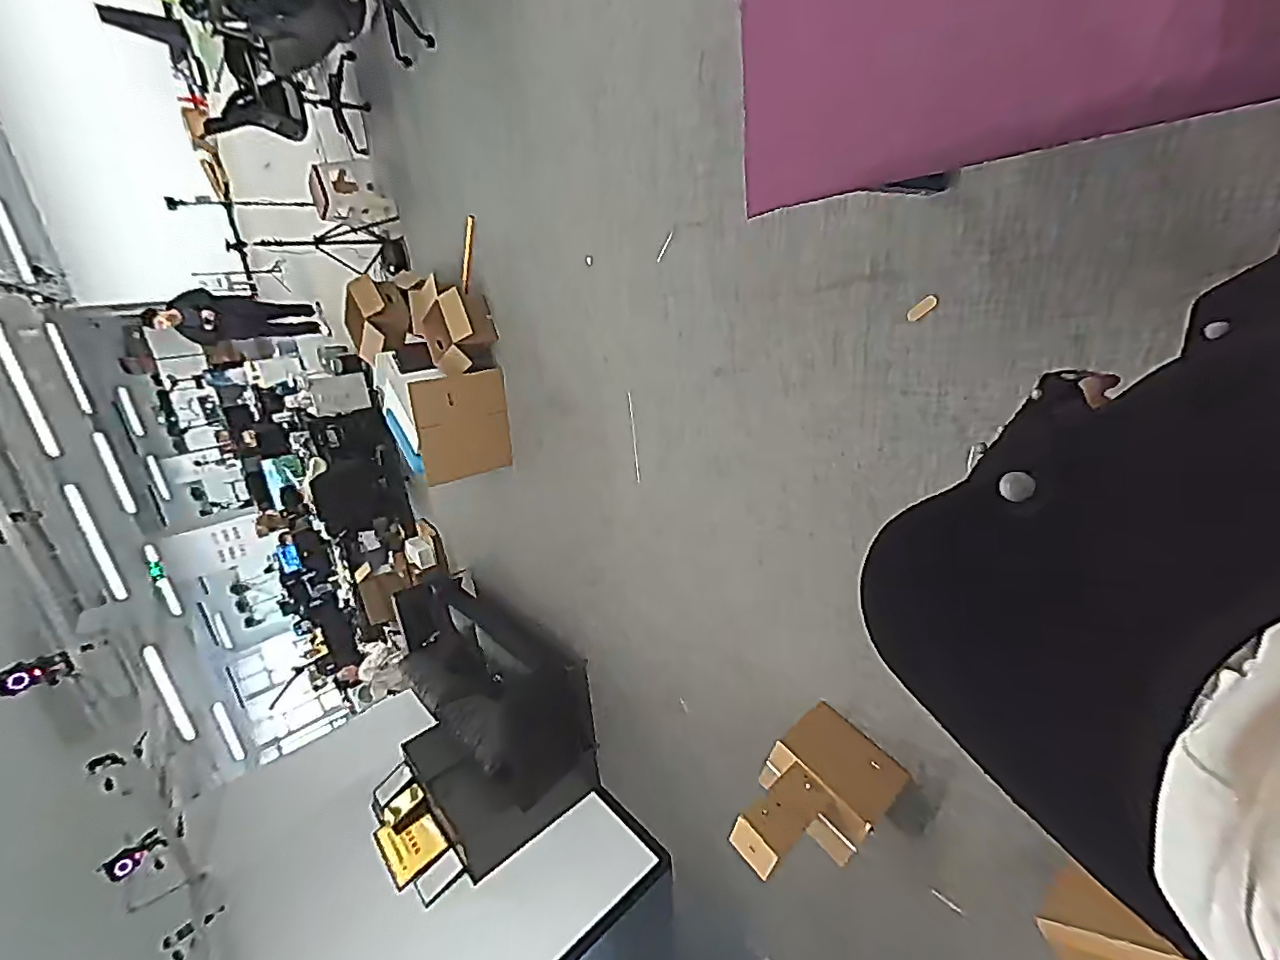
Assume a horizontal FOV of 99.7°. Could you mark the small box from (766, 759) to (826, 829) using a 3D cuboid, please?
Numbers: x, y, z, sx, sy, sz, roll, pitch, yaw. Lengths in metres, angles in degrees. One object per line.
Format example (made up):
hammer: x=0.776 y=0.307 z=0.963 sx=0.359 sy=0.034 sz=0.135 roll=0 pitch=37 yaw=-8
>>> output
small box: x=0.556 y=1.180 z=1.995 sx=0.168 sy=0.176 sz=0.179 roll=39 pitch=132 yaw=34

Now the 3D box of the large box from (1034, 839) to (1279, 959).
large box: x=1.362 y=1.214 z=1.415 sx=0.408 sy=0.320 sz=0.320 roll=-34 pitch=81 yaw=51

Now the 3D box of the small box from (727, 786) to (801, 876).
small box: x=0.437 y=1.221 z=1.891 sx=0.168 sy=0.176 sz=0.179 roll=38 pitch=132 yaw=36
